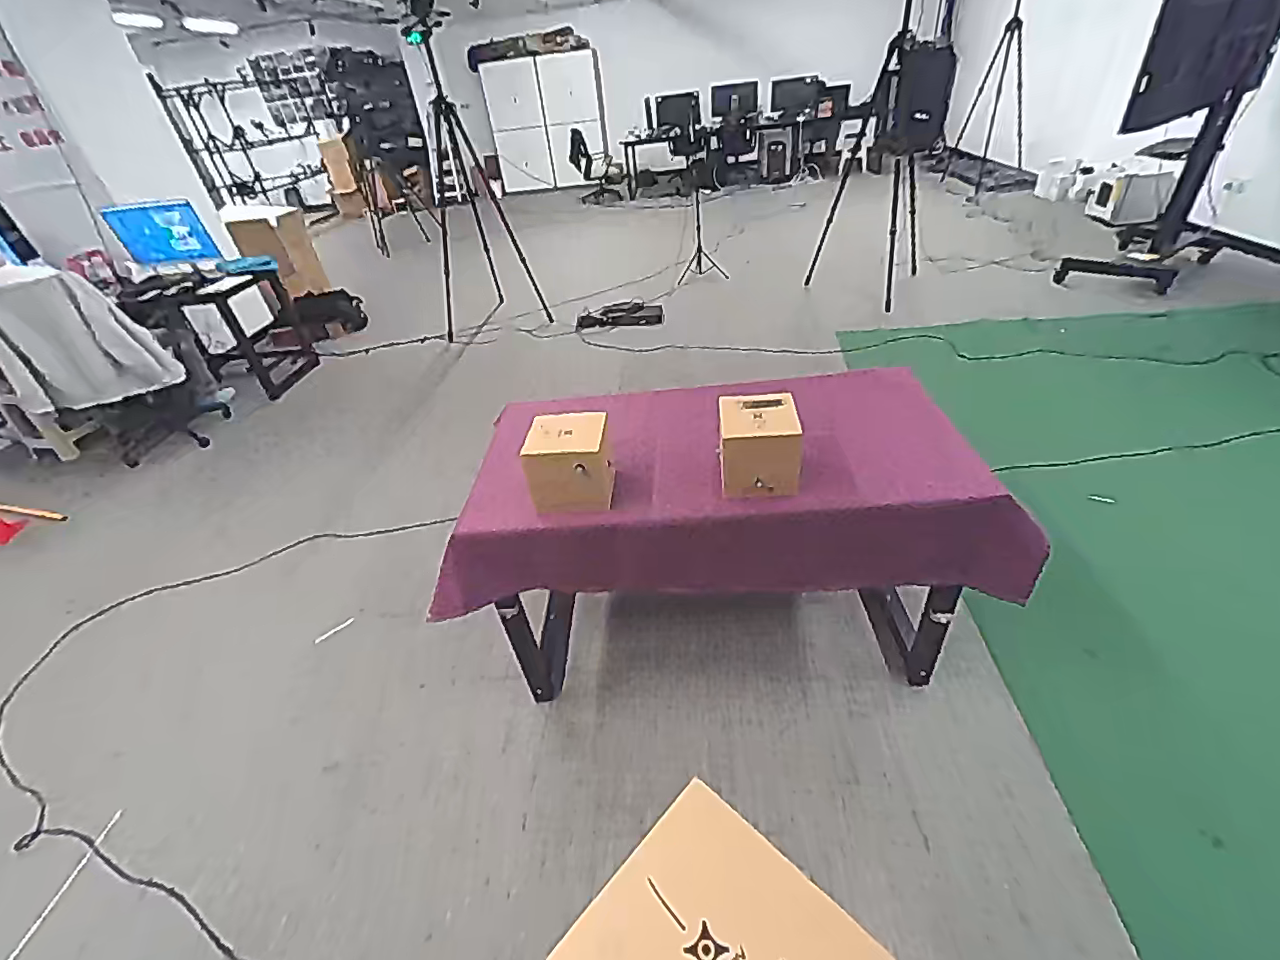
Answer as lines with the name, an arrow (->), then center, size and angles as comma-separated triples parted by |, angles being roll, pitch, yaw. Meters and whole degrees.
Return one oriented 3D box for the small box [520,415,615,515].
small box -> -0.159, -0.034, 1.257 | 0.179, 0.176, 0.168 | -3, 36, 7
